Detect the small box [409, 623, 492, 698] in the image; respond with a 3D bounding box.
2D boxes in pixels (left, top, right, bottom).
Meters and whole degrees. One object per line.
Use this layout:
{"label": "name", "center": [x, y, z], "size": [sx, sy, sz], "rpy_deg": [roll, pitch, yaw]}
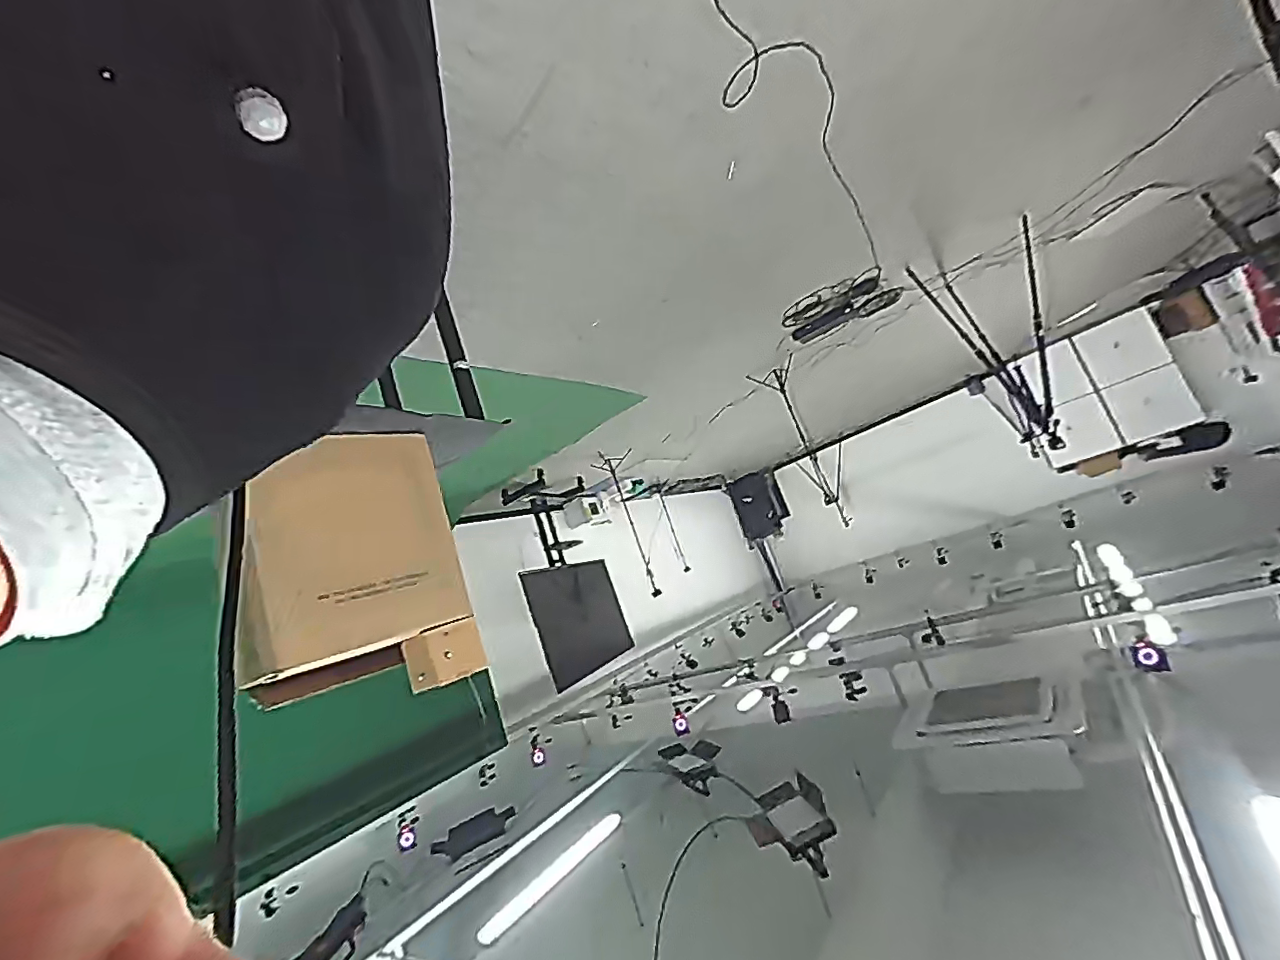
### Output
{"label": "small box", "center": [-0.591, 0.553, 1.674], "size": [0.179, 0.176, 0.168], "rpy_deg": [-27, 167, 39]}
